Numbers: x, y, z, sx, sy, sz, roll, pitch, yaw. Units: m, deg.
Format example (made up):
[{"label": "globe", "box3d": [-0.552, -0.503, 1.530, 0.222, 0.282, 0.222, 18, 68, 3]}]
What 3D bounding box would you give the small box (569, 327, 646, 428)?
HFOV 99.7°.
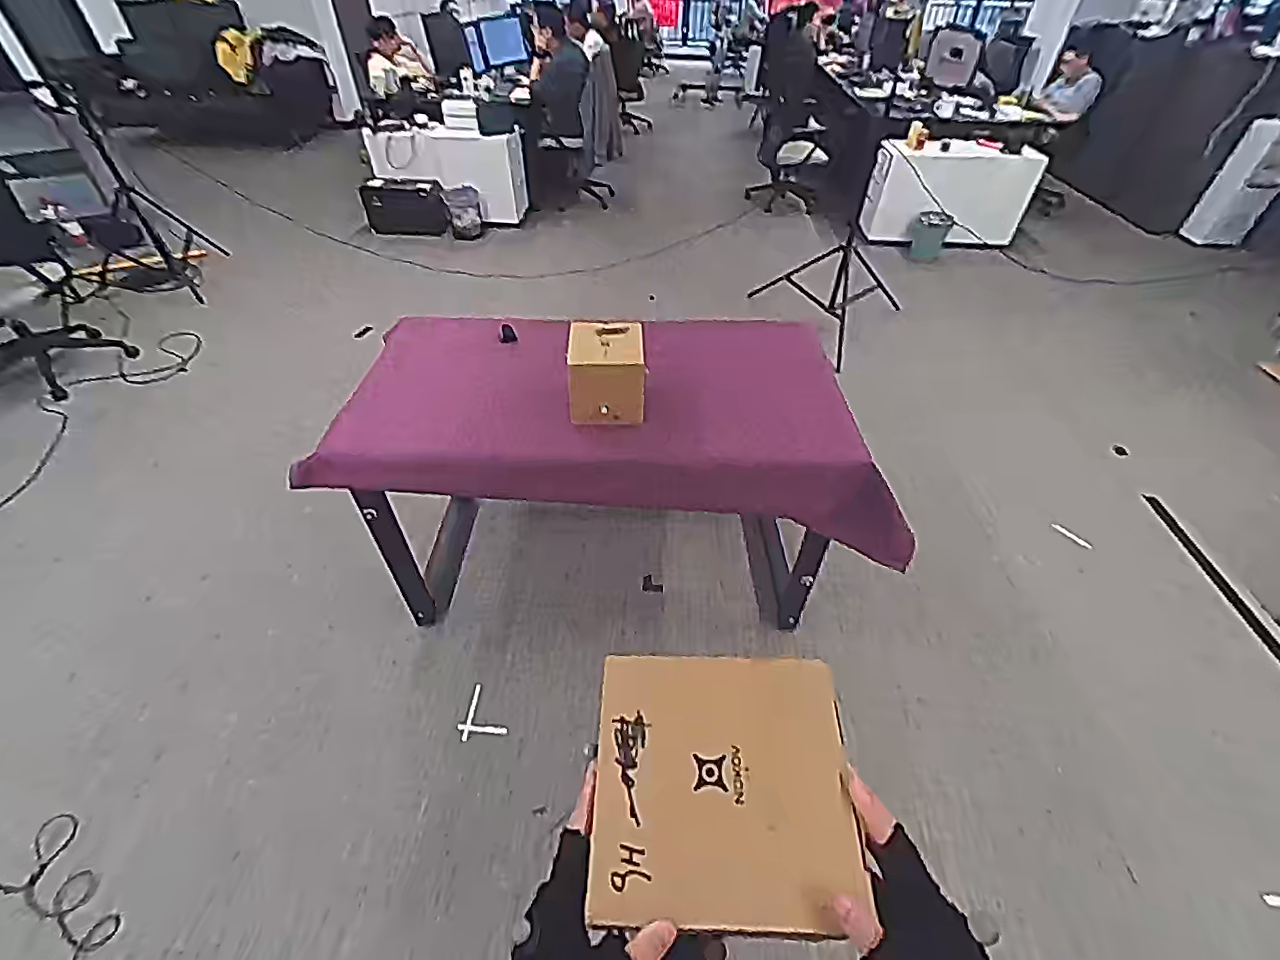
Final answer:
[{"label": "small box", "box3d": [-0.073, -0.239, 1.259, 0.168, 0.176, 0.179, -1, 44, -2]}]
